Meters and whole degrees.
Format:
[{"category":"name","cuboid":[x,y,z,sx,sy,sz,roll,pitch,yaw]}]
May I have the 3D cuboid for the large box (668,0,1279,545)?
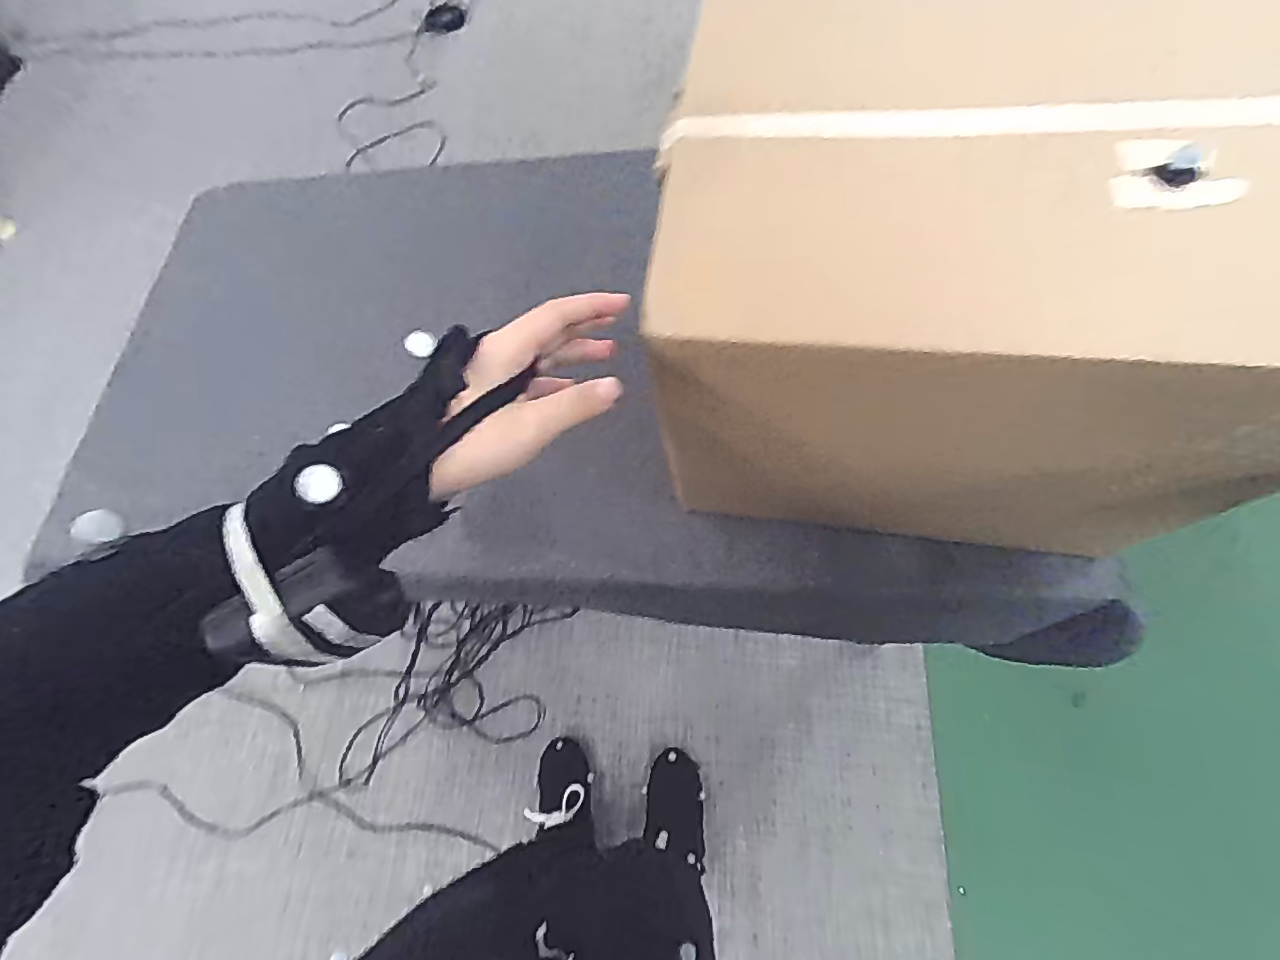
[{"category":"large box","cuboid":[0.246,-0.149,0.461,0.408,0.320,0.320,6,70,10]}]
